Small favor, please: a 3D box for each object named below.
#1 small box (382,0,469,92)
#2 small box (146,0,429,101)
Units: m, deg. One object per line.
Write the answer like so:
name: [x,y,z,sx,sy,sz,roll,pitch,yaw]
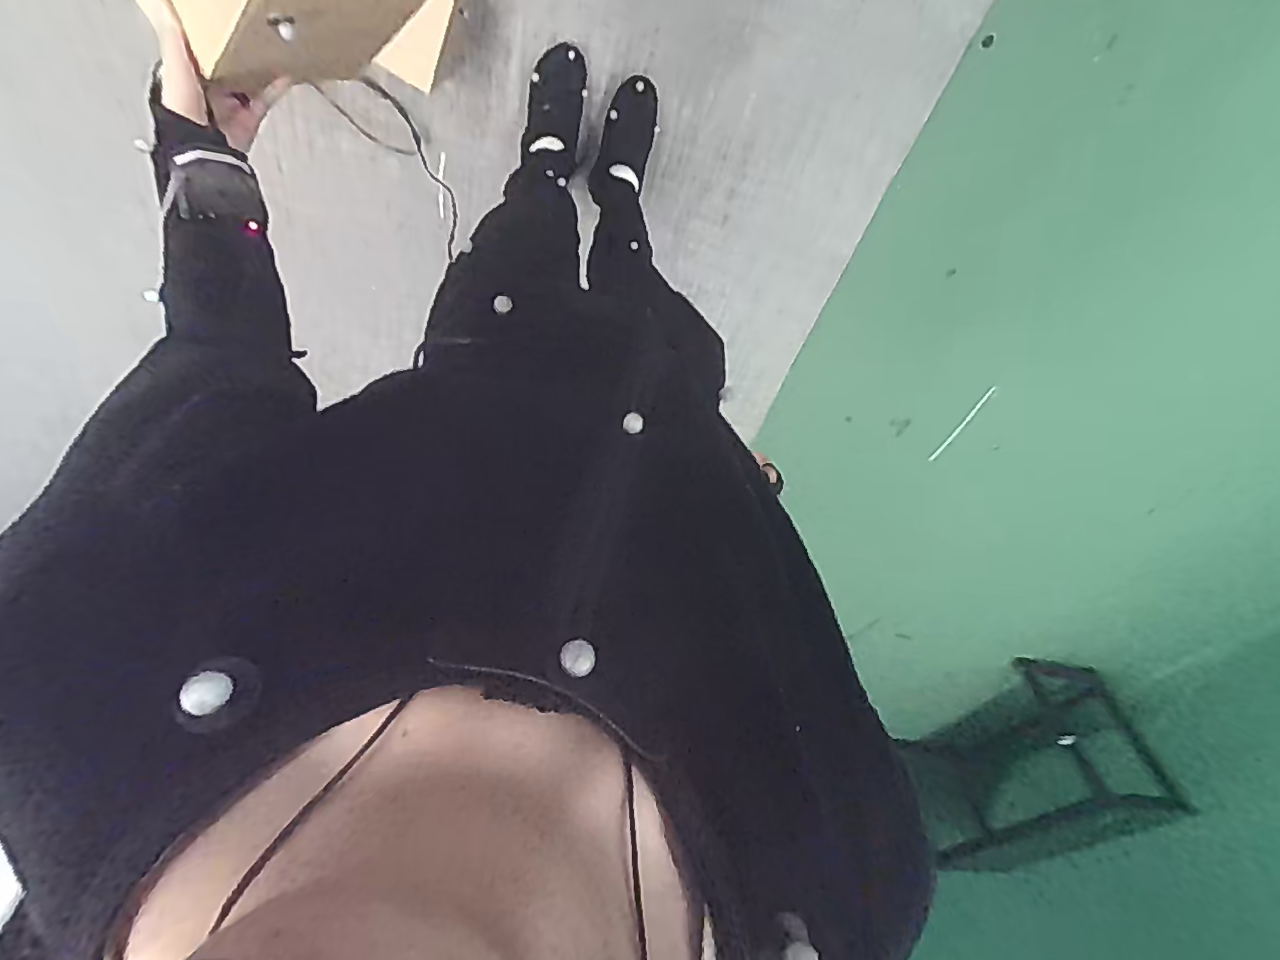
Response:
small box: [-0.408,-0.829,0.940,0.168,0.176,0.179,23,129,-23]
small box: [-0.314,-0.454,0.455,0.179,0.176,0.168,-1,124,41]
